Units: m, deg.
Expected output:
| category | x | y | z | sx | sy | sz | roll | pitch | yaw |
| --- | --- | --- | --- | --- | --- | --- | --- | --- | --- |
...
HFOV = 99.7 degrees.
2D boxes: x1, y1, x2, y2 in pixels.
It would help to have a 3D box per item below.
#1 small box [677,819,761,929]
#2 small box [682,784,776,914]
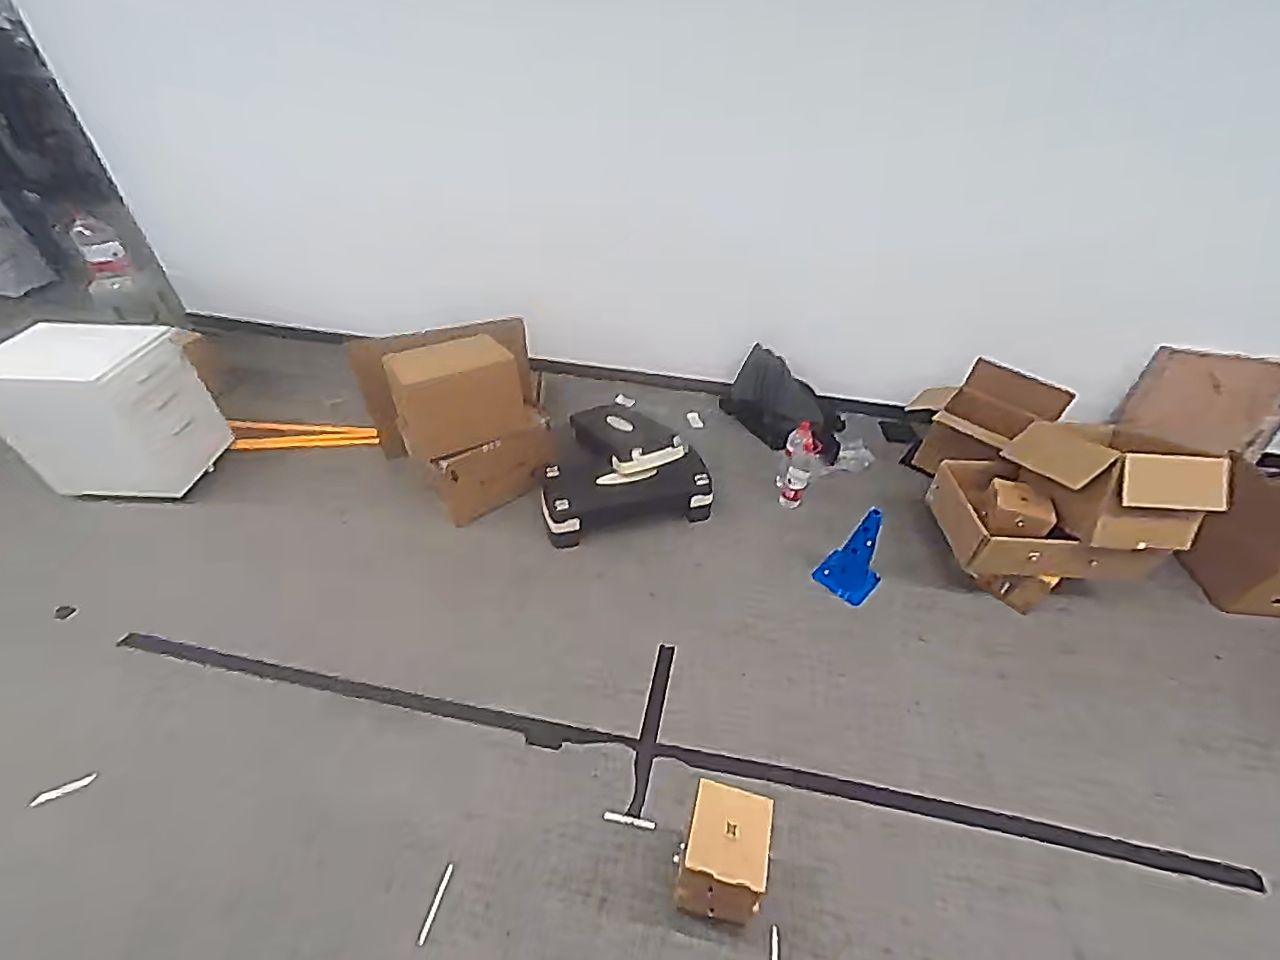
| category | x | y | z | sx | sy | sz | roll | pitch | yaw |
| --- | --- | --- | --- | --- | --- | --- | --- | --- | --- |
| small box | 0.189 | 0.941 | 1.290 | 0.179 | 0.176 | 0.168 | 8 | 42 | 8 |
| small box | 0.193 | 0.812 | 1.190 | 0.168 | 0.176 | 0.179 | 13 | 44 | 11 |
